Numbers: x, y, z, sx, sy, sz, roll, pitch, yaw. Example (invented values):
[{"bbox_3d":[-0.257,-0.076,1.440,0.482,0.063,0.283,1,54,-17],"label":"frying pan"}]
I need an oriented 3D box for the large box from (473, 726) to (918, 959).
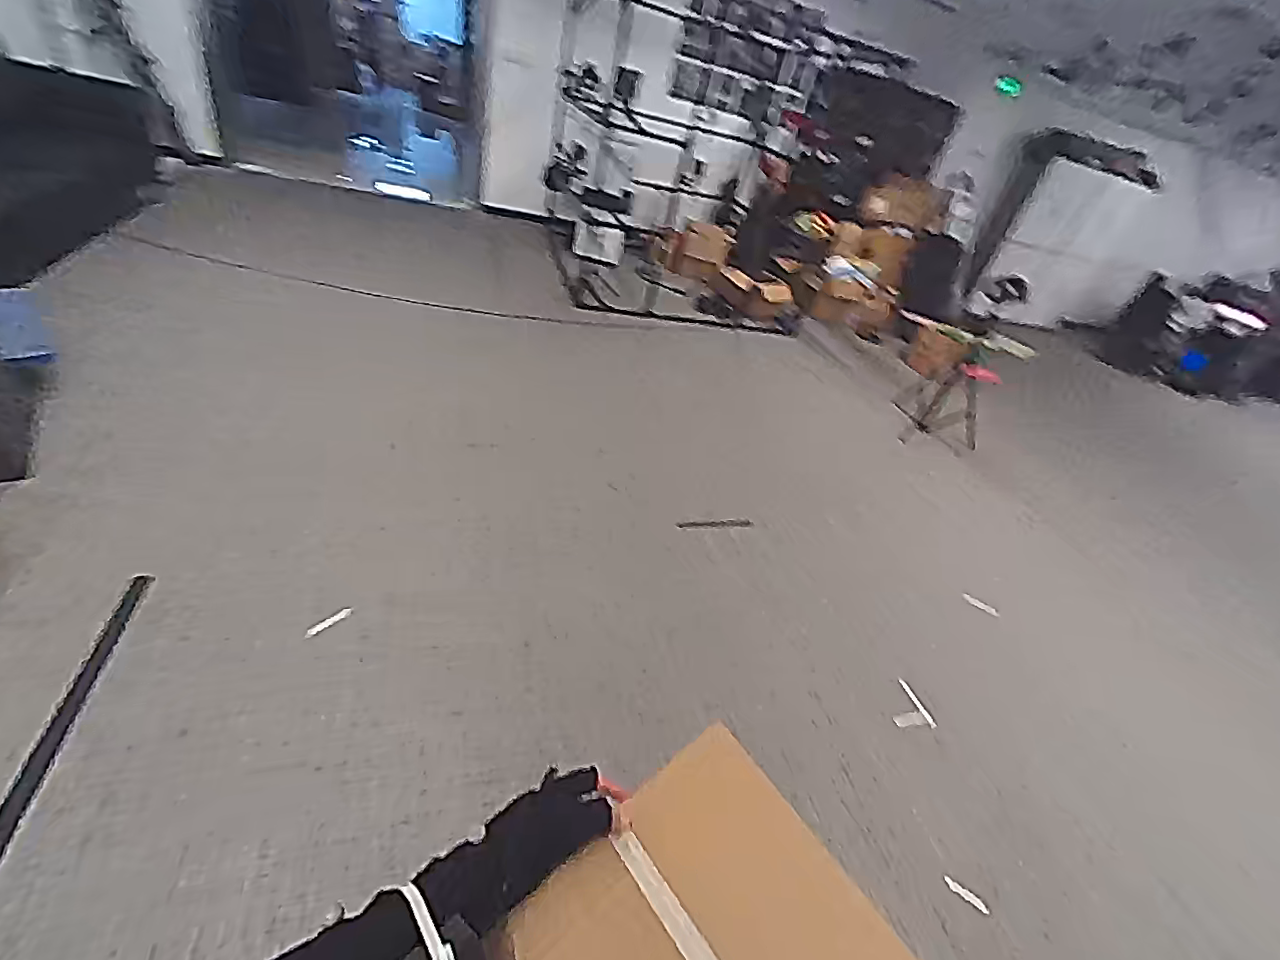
[{"bbox_3d":[0.068,0.553,0.545,0.320,0.320,0.408,-25,57,-32],"label":"large box"}]
